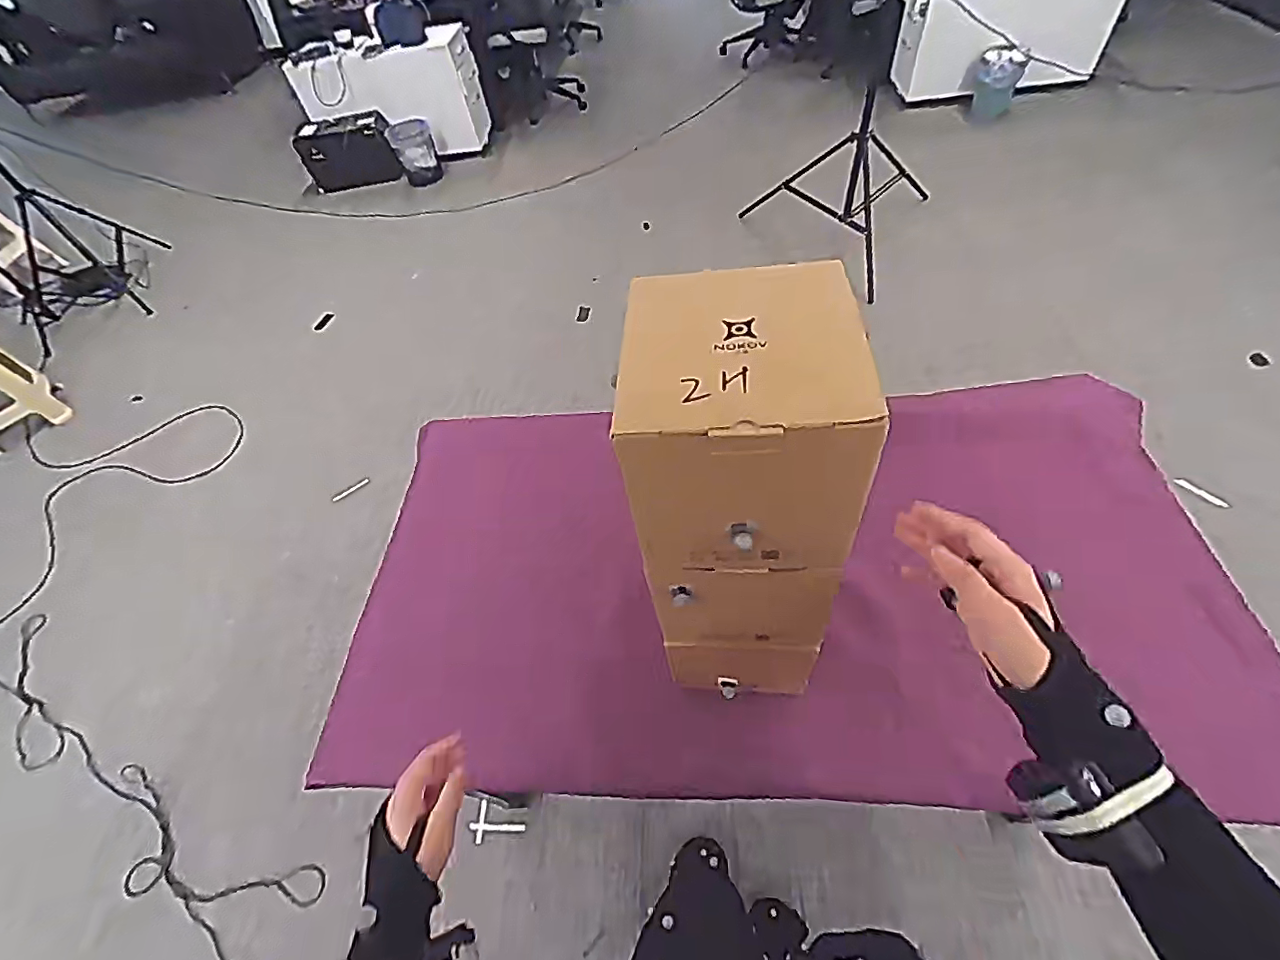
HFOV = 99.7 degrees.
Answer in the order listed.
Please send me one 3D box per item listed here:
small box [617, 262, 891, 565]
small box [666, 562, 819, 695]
[{"bbox_3d":[0.082,-0.049,0.437,0.168,0.176,0.179,-2,52,9],"label":"small box"},{"bbox_3d":[0.125,0.157,0.691,0.168,0.176,0.179,-1,53,9],"label":"small box"}]
